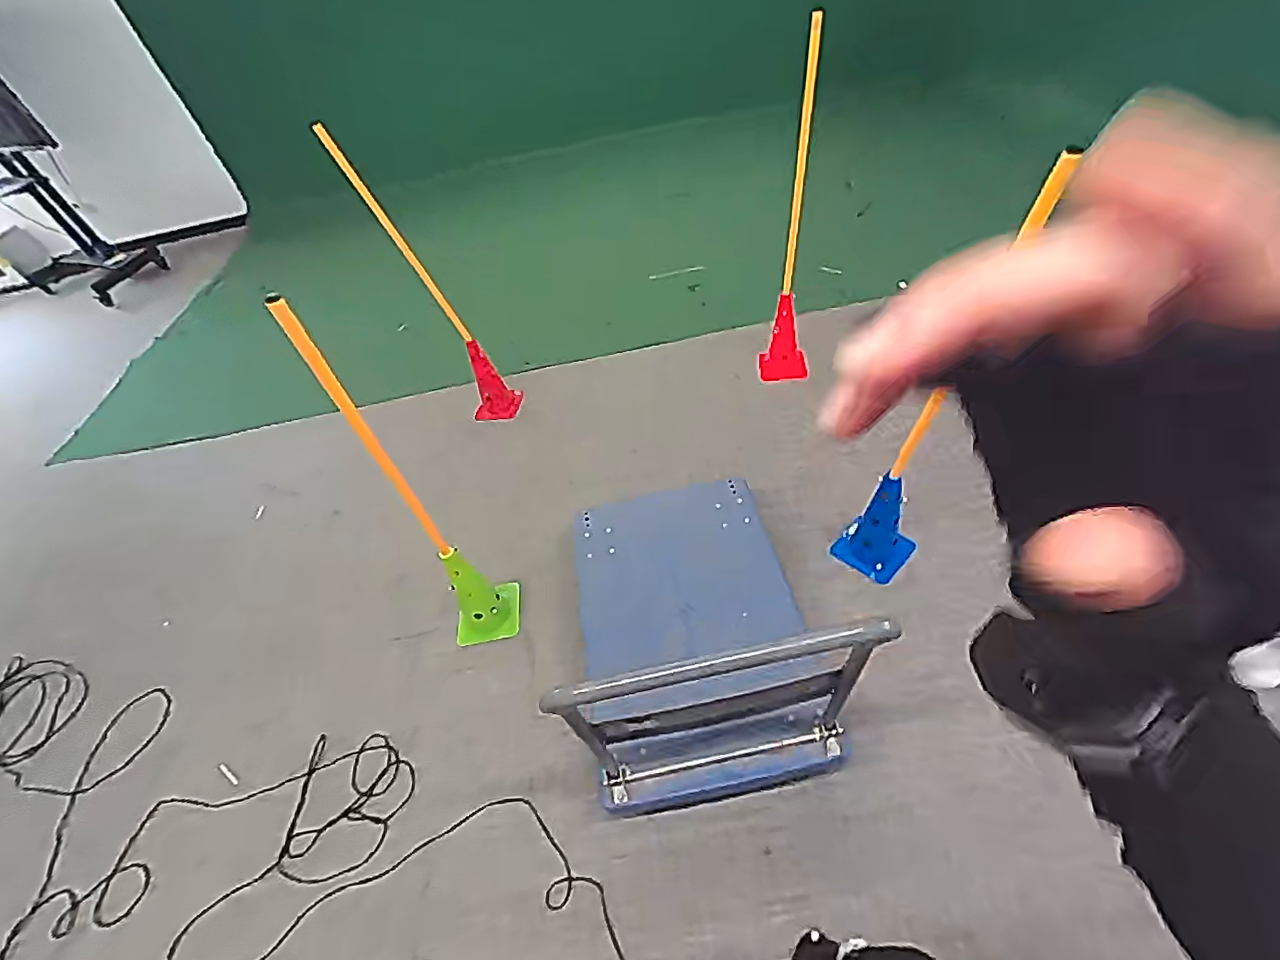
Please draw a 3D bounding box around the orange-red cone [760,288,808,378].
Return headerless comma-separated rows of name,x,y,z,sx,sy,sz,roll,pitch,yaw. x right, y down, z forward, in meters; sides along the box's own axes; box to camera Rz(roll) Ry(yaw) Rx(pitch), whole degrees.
orange-red cone,0.598,-0.624,2.236,0.198,0.360,0.199,-3,49,10
